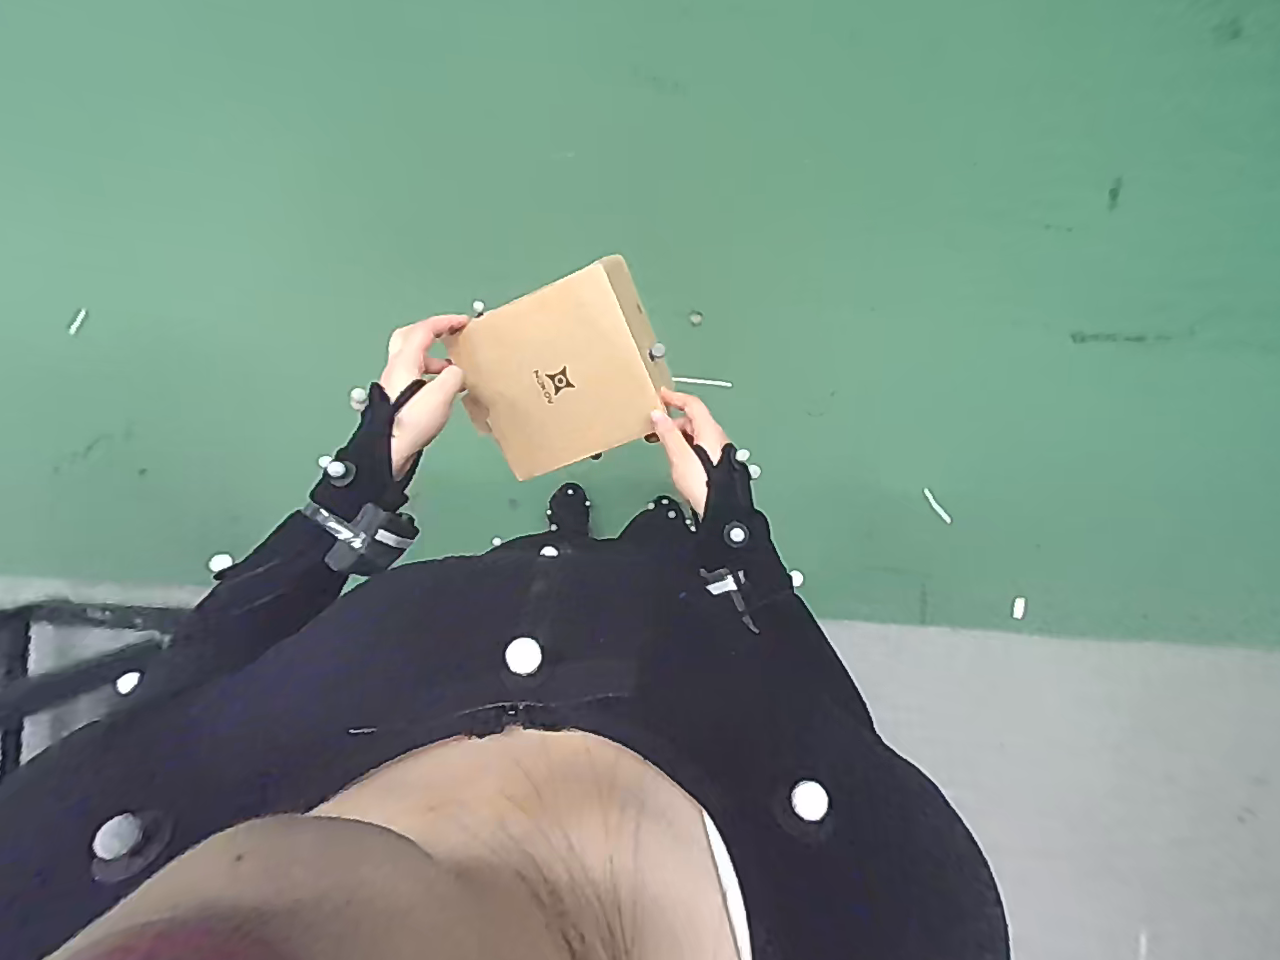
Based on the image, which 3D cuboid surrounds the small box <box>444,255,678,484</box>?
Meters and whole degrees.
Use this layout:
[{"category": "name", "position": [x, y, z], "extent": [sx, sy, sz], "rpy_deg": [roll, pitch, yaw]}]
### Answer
[{"category": "small box", "position": [-0.069, -0.127, 0.583], "extent": [0.179, 0.176, 0.168], "rpy_deg": [-21, 112, 14]}]
